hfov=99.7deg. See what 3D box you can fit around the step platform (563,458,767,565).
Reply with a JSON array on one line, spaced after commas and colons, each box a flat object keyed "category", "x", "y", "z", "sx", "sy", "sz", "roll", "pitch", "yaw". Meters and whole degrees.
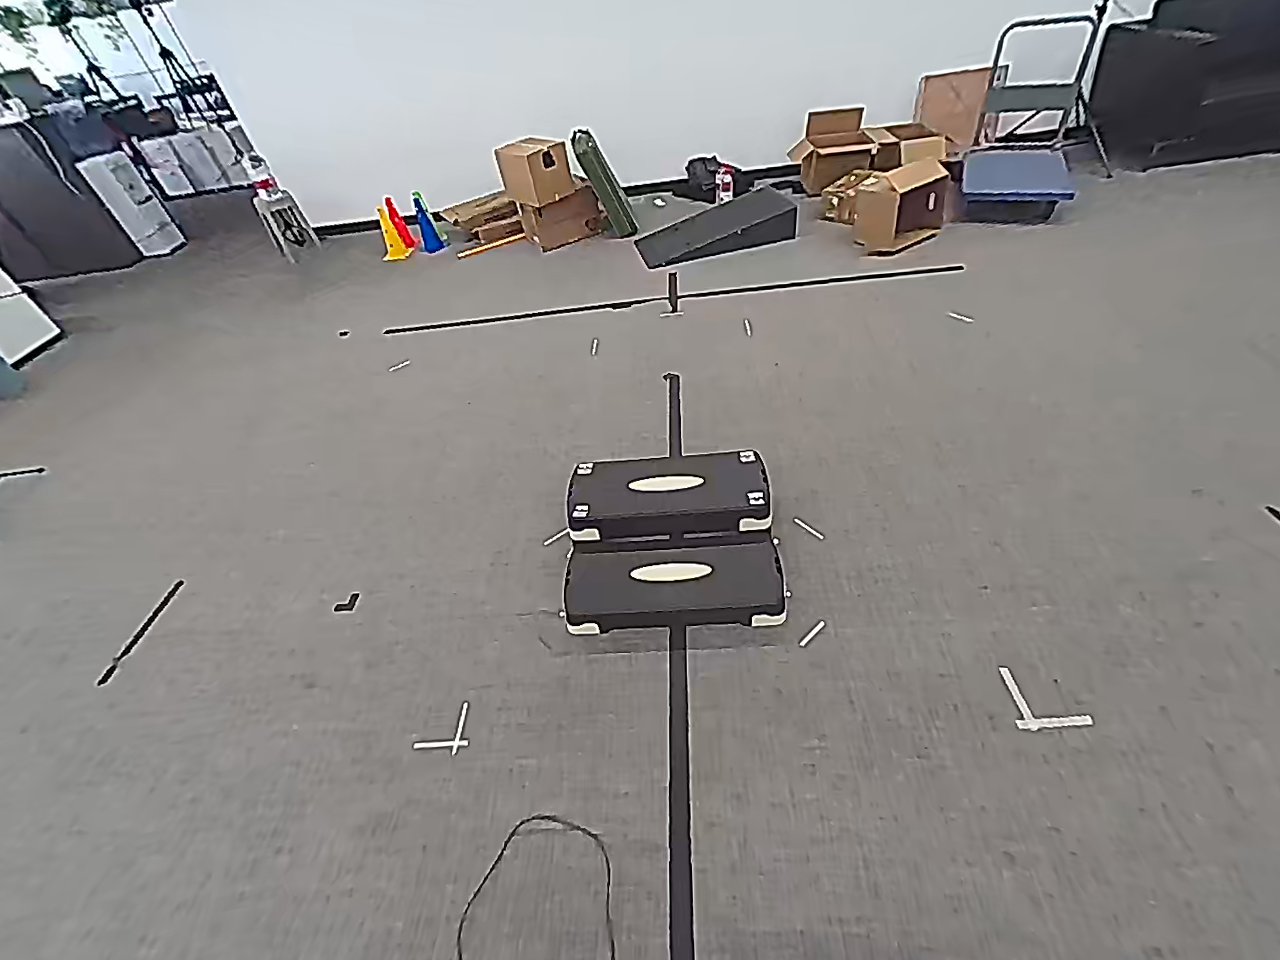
[{"category": "step platform", "x": 0.082, "y": 0.102, "z": 1.839, "sx": 0.684, "sy": 0.204, "sz": 0.286, "roll": -4, "pitch": 45, "yaw": 5}]
